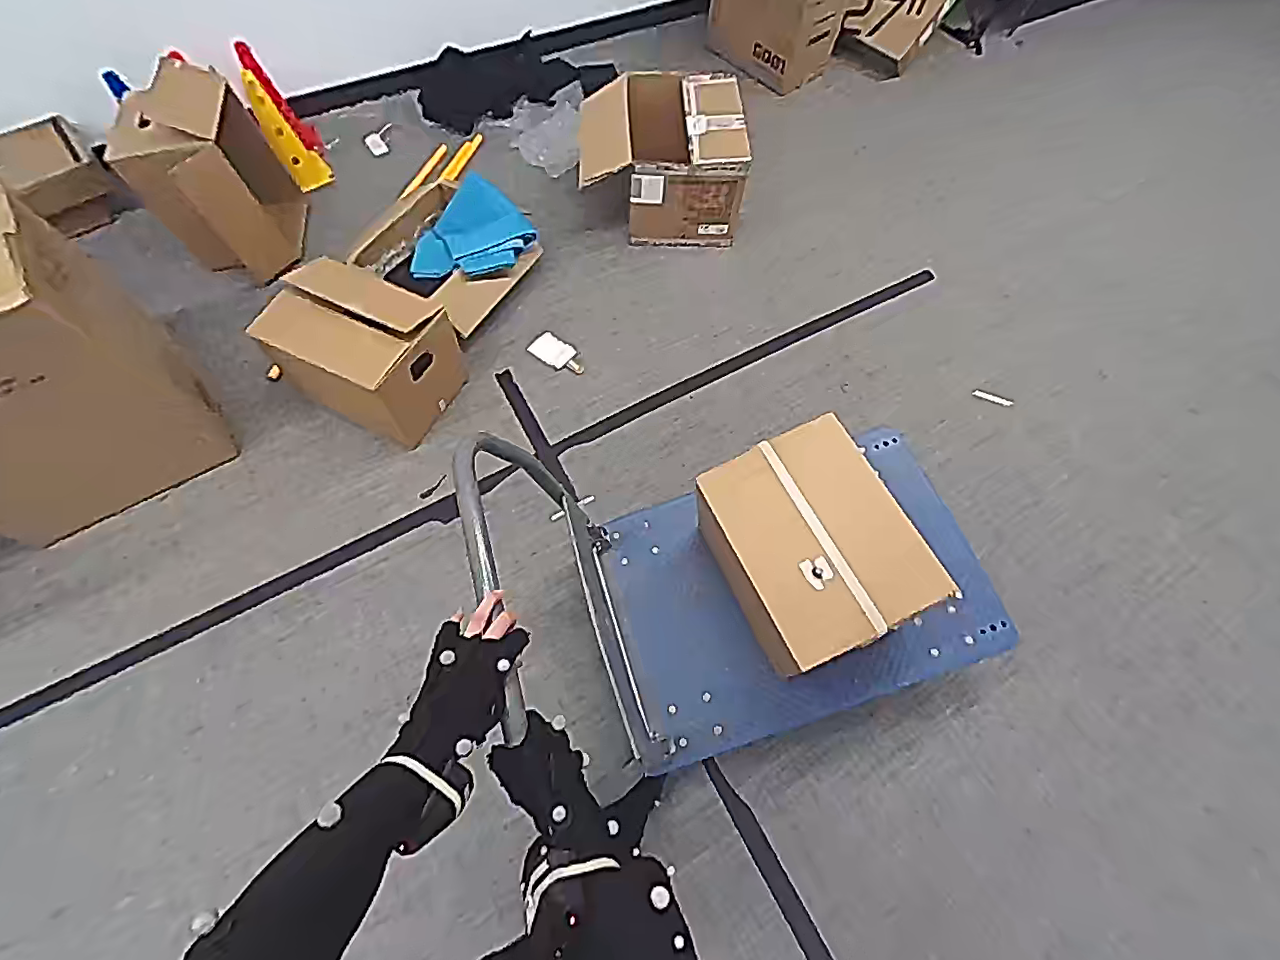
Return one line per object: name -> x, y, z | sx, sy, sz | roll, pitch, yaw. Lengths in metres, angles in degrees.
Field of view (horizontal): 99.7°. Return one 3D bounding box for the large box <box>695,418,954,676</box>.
large box -> 0.342, 0.152, 1.142 | 0.320, 0.320, 0.408 | -27, 67, -4
